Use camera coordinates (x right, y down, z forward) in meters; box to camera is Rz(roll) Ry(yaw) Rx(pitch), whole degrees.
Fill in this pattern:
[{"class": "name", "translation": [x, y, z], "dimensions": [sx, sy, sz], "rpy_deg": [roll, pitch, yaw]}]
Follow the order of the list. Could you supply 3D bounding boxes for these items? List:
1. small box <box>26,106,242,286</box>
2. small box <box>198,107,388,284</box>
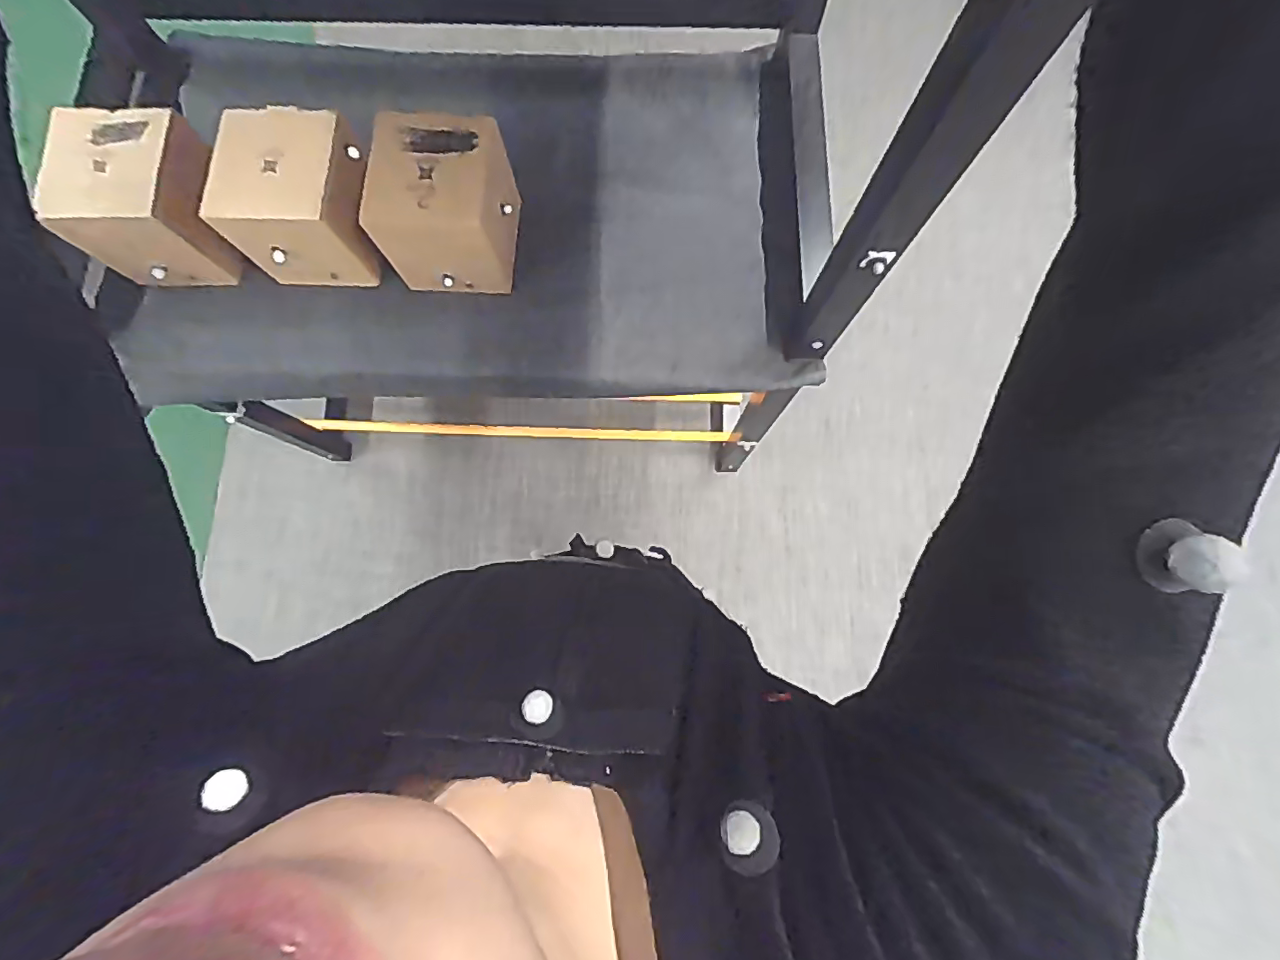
[{"class": "small box", "translation": [-0.728, -0.416, 0.807], "dimensions": [0.168, 0.176, 0.179], "rpy_deg": [-1, 78, 0]}, {"class": "small box", "translation": [-0.501, -0.414, 0.809], "dimensions": [0.168, 0.176, 0.179], "rpy_deg": [2, 78, 0]}]
